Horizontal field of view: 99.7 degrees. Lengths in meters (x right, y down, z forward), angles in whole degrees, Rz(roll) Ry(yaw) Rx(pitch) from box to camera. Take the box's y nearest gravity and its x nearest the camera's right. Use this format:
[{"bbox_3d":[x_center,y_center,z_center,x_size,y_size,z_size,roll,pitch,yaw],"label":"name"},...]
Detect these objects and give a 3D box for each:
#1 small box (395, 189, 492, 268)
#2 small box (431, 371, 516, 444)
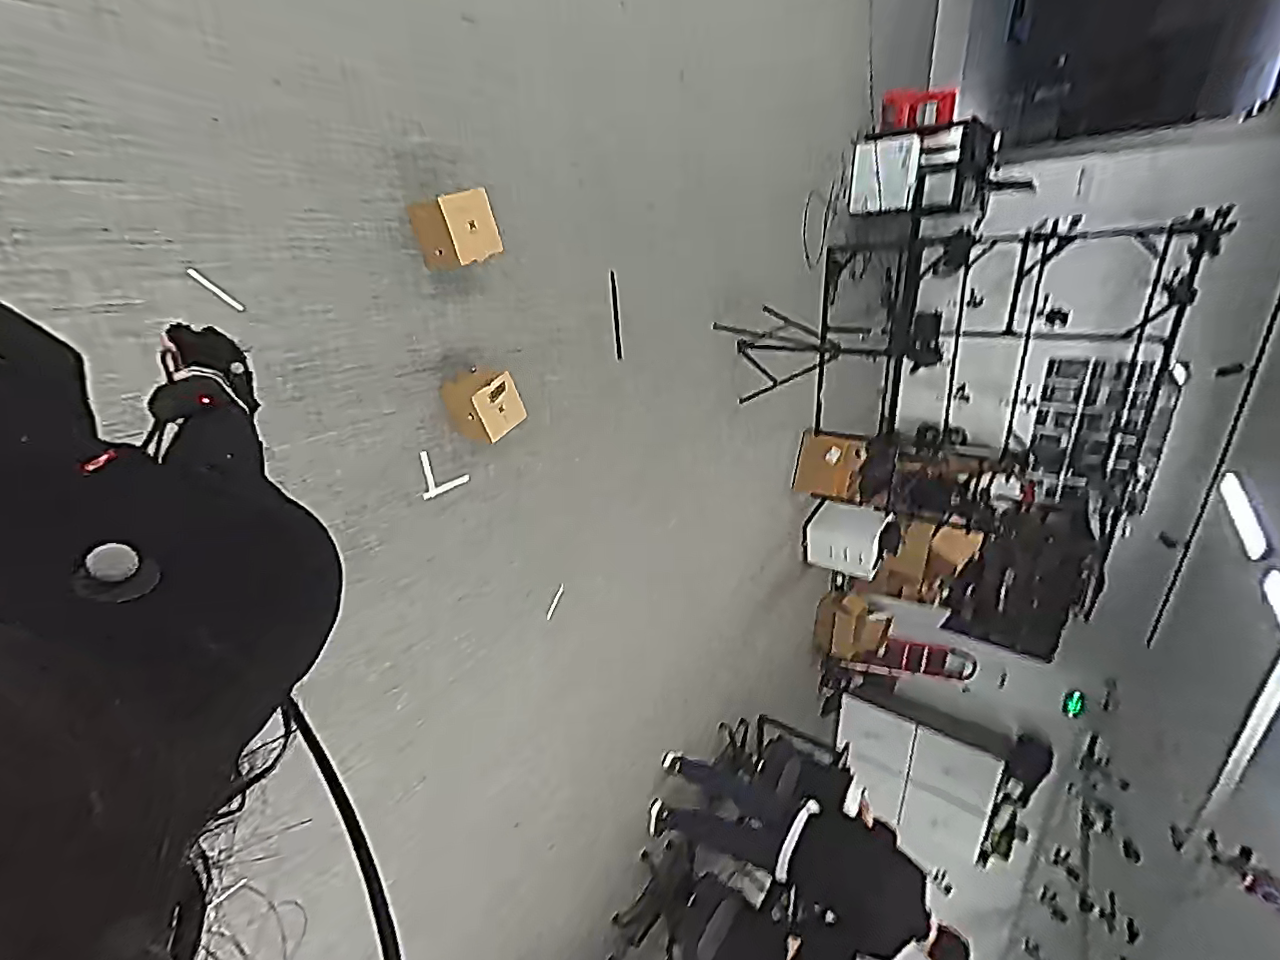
[{"bbox_3d":[-0.565,-0.721,1.558,0.168,0.176,0.179,-44,132,-39],"label":"small box"},{"bbox_3d":[-0.541,-0.241,1.749,0.168,0.176,0.179,-47,136,-35],"label":"small box"}]
